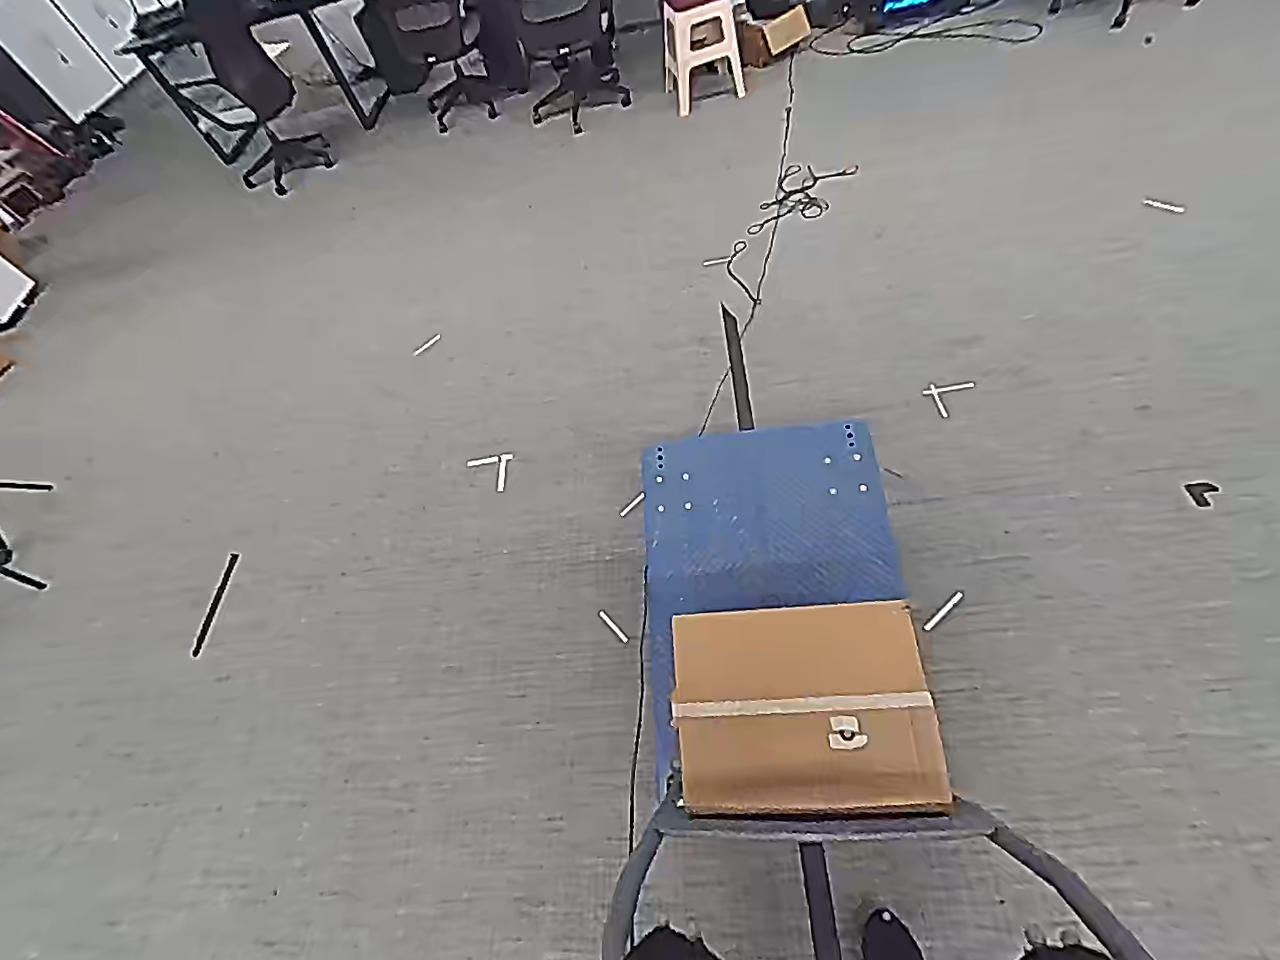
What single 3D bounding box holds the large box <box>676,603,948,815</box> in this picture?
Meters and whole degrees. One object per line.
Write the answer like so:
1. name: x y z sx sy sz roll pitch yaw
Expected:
1. large box: 0.292 0.432 1.039 0.408 0.320 0.320 -6 68 8
